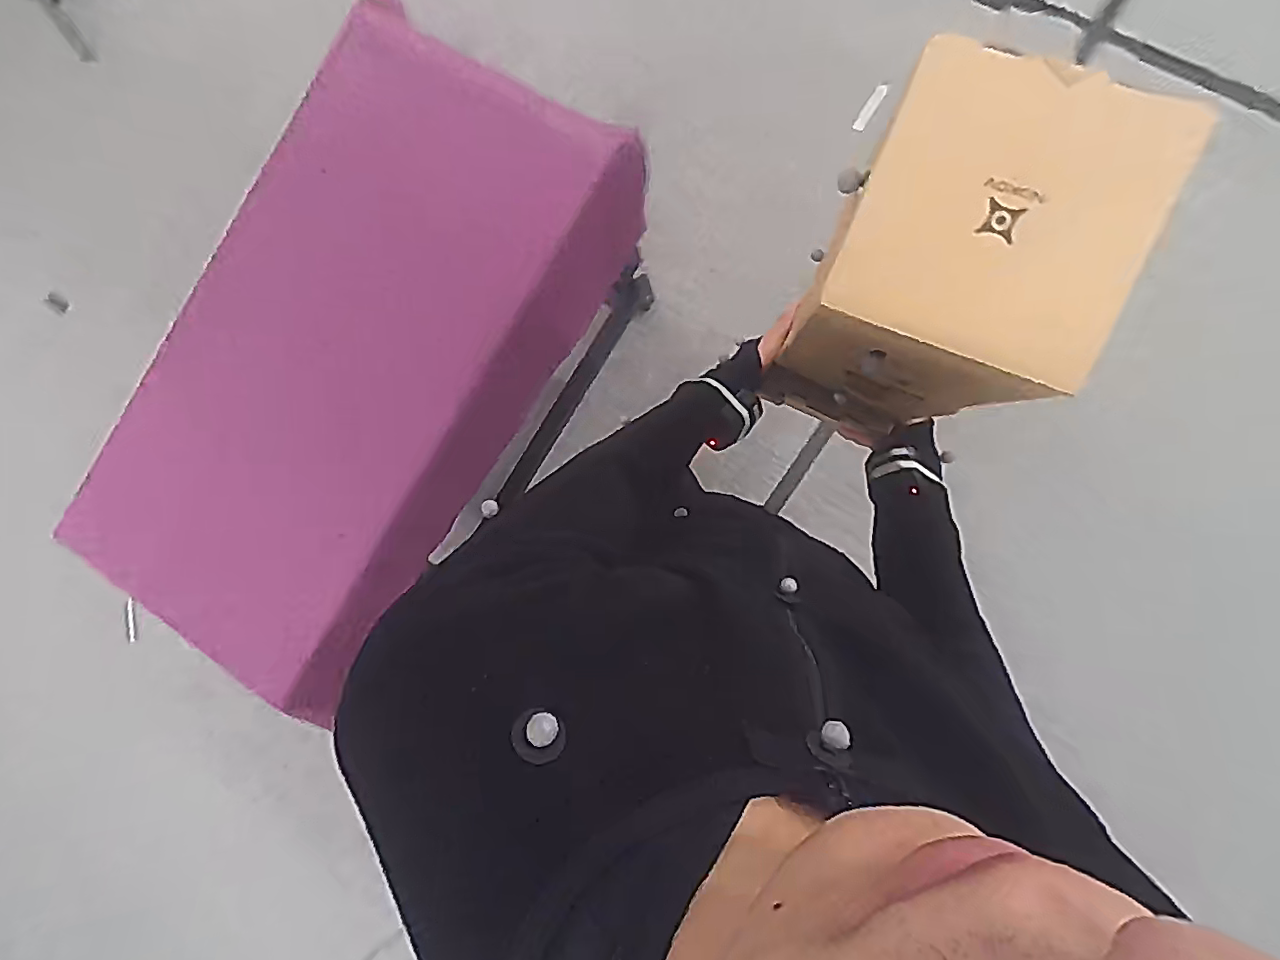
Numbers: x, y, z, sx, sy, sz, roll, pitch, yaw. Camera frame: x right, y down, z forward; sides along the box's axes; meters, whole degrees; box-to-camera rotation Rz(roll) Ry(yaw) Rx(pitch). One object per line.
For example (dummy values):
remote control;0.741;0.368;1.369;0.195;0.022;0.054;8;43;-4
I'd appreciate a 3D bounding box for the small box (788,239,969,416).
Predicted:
small box;0.266;-0.179;0.558;0.168;0.176;0.179;26;98;7

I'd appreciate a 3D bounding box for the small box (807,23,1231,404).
small box;0.236;-0.166;0.398;0.168;0.176;0.179;23;96;7
